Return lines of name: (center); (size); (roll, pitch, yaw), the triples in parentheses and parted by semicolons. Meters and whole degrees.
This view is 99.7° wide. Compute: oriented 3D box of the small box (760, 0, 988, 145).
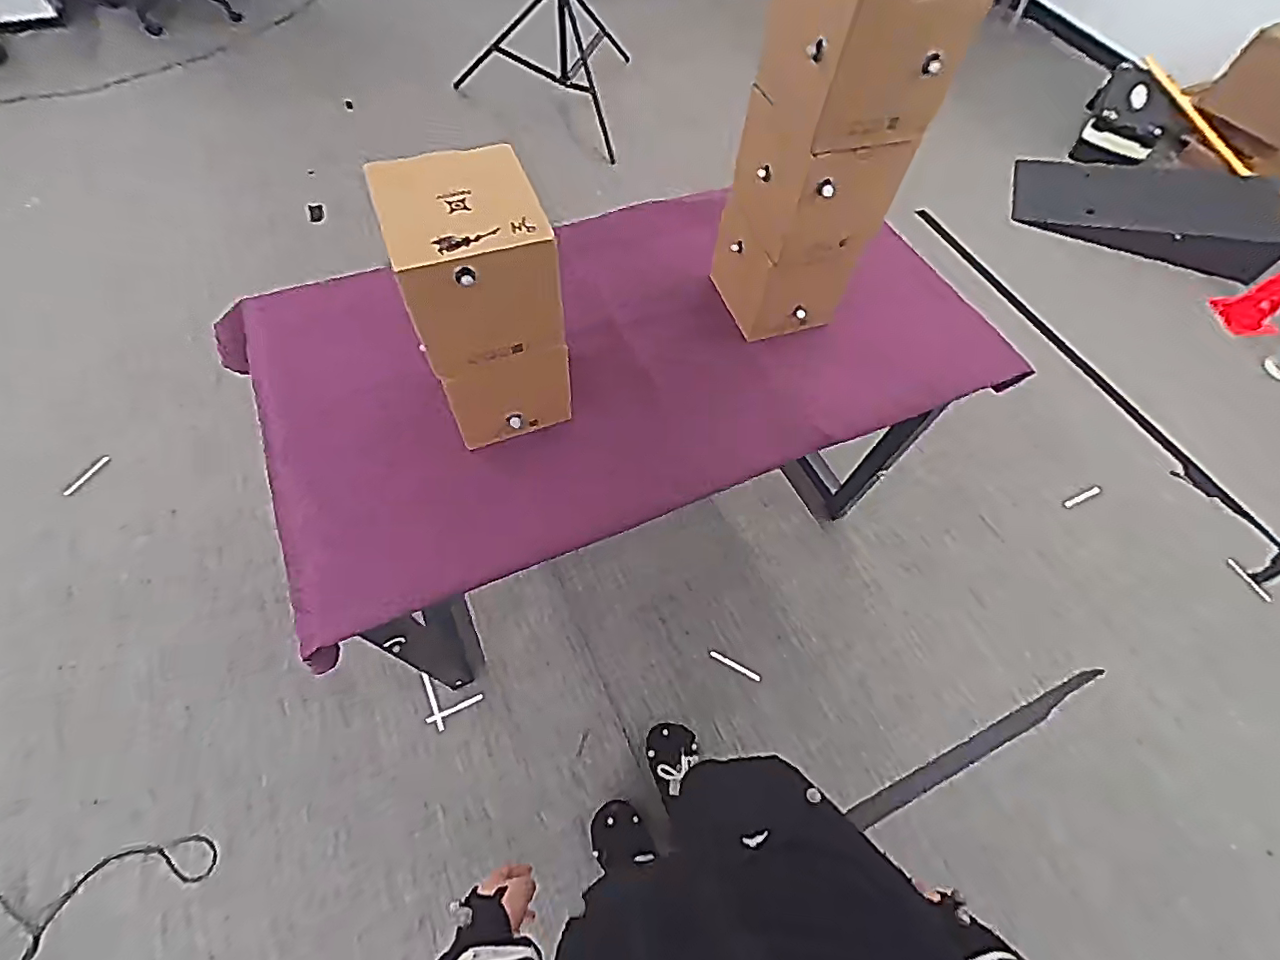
small box: (0.263, -0.519, 0.632); (0.168, 0.176, 0.179); (-14, 62, -12)

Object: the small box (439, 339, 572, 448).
small box: (-0.205, -0.176, 0.786); (0.168, 0.176, 0.179); (-19, 66, -14)

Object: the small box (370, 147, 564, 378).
small box: (-0.195, -0.253, 0.642); (0.168, 0.176, 0.179); (-18, 64, -13)

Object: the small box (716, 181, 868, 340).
small box: (0.244, -0.371, 0.923); (0.168, 0.176, 0.179); (-16, 64, -11)
